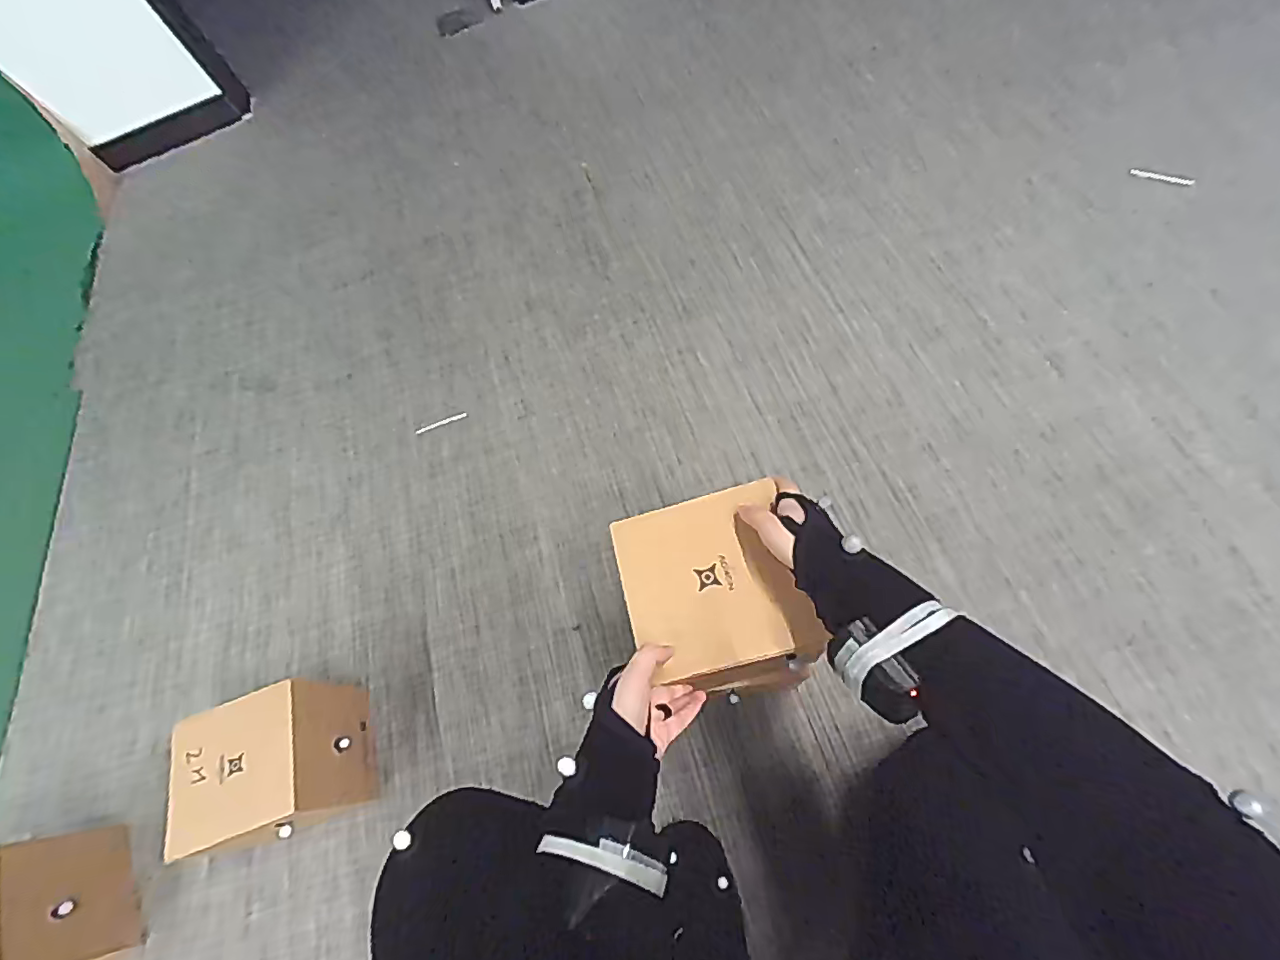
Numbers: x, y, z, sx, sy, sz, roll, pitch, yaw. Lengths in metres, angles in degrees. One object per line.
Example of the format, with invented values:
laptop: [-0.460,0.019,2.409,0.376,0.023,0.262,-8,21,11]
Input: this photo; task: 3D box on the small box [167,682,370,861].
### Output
small box: [-0.506,0.401,0.764,0.179,0.176,0.168,-22,62,1]

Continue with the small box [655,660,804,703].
small box: [0.110,0.201,0.727,0.179,0.176,0.168,-11,65,6]

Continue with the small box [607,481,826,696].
small box: [0.080,0.127,0.585,0.179,0.176,0.168,-16,64,3]

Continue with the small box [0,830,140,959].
small box: [-0.838,0.619,0.736,0.168,0.176,0.179,-36,64,-5]
